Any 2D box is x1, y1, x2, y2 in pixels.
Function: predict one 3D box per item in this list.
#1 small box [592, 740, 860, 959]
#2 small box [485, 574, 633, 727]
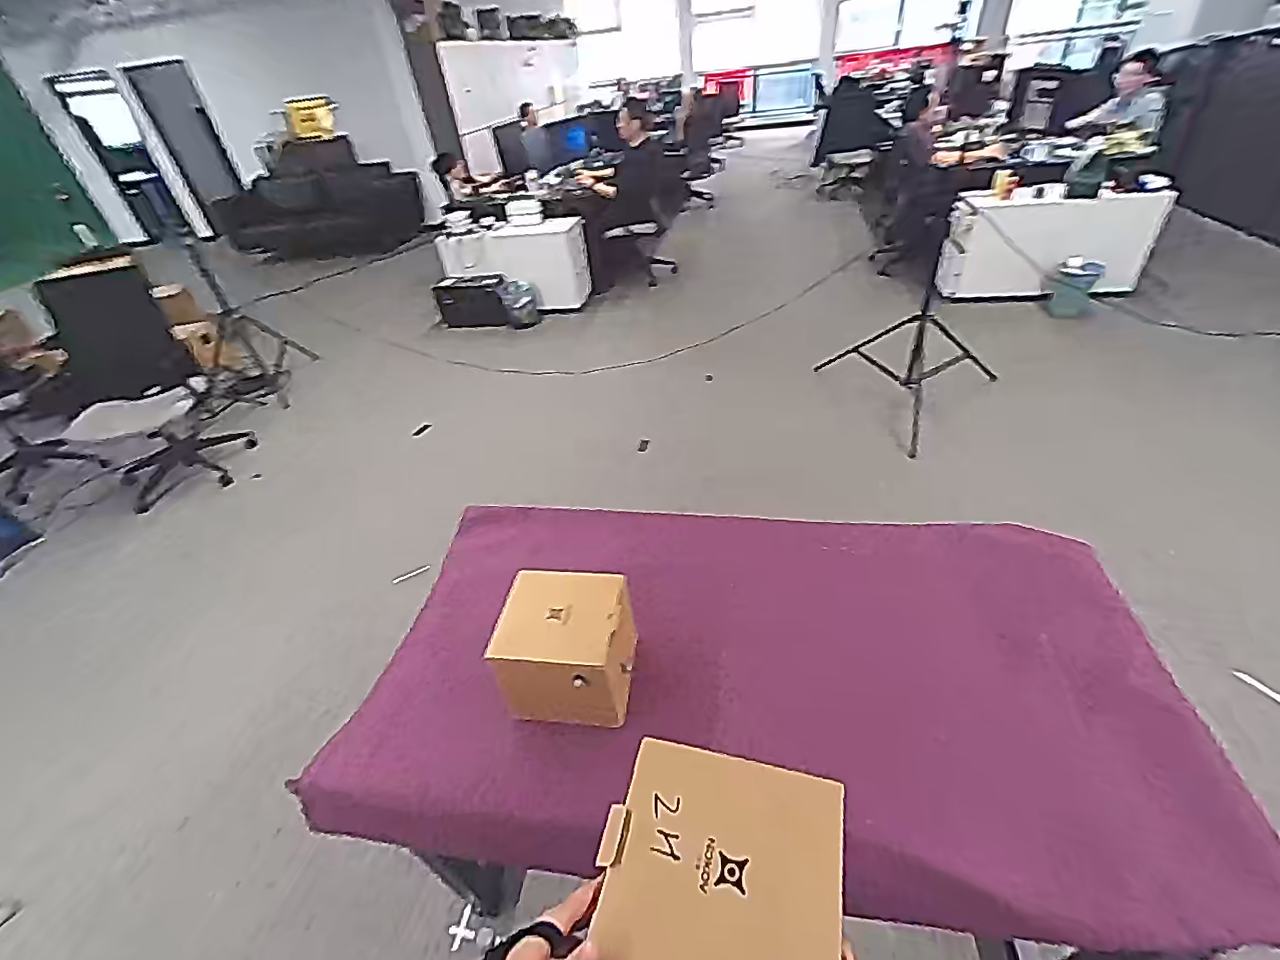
[{"bbox_3d":[0.082,0.357,0.457,0.179,0.176,0.168,5,41,19],"label":"small box"},{"bbox_3d":[-0.114,0.266,0.848,0.179,0.176,0.168,0,38,9],"label":"small box"}]
